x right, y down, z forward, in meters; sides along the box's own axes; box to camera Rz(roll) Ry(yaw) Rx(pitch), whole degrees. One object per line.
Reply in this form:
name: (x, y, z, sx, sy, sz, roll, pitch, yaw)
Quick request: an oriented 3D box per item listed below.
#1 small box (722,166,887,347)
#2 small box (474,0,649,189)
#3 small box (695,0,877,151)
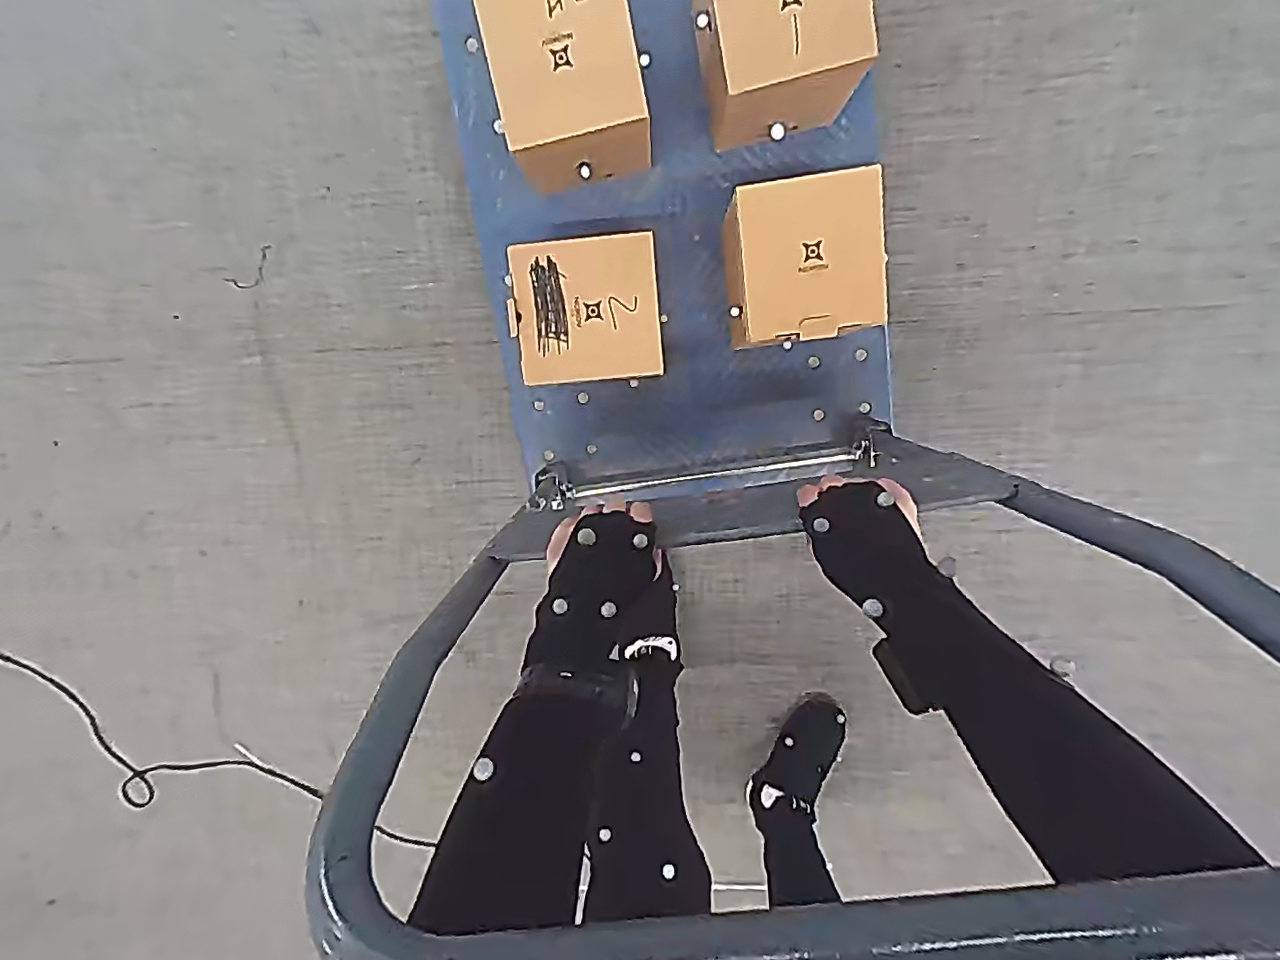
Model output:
small box: (0.203, -0.274, 0.704, 0.168, 0.176, 0.179, -7, 101, 4)
small box: (-0.084, -0.486, 0.673, 0.168, 0.176, 0.179, -11, 100, 4)
small box: (0.163, -0.537, 0.651, 0.168, 0.176, 0.179, -11, 102, 5)
